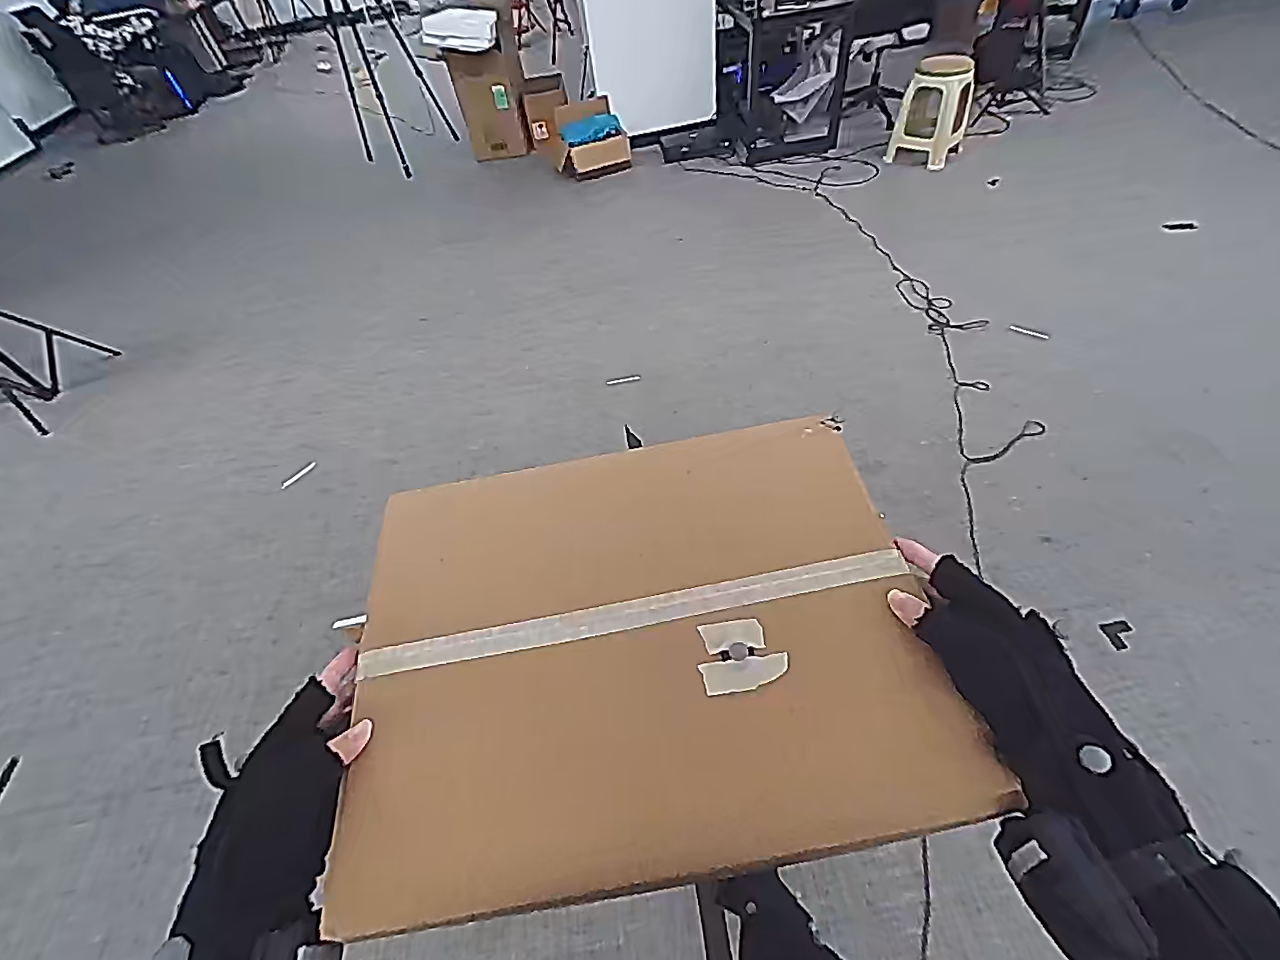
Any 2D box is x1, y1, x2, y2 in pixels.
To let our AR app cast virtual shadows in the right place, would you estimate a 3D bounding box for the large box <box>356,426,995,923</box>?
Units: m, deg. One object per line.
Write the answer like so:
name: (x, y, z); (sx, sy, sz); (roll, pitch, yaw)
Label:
large box: (0.014, 0.193, 0.530); (0.408, 0.320, 0.320); (-10, 53, -1)
